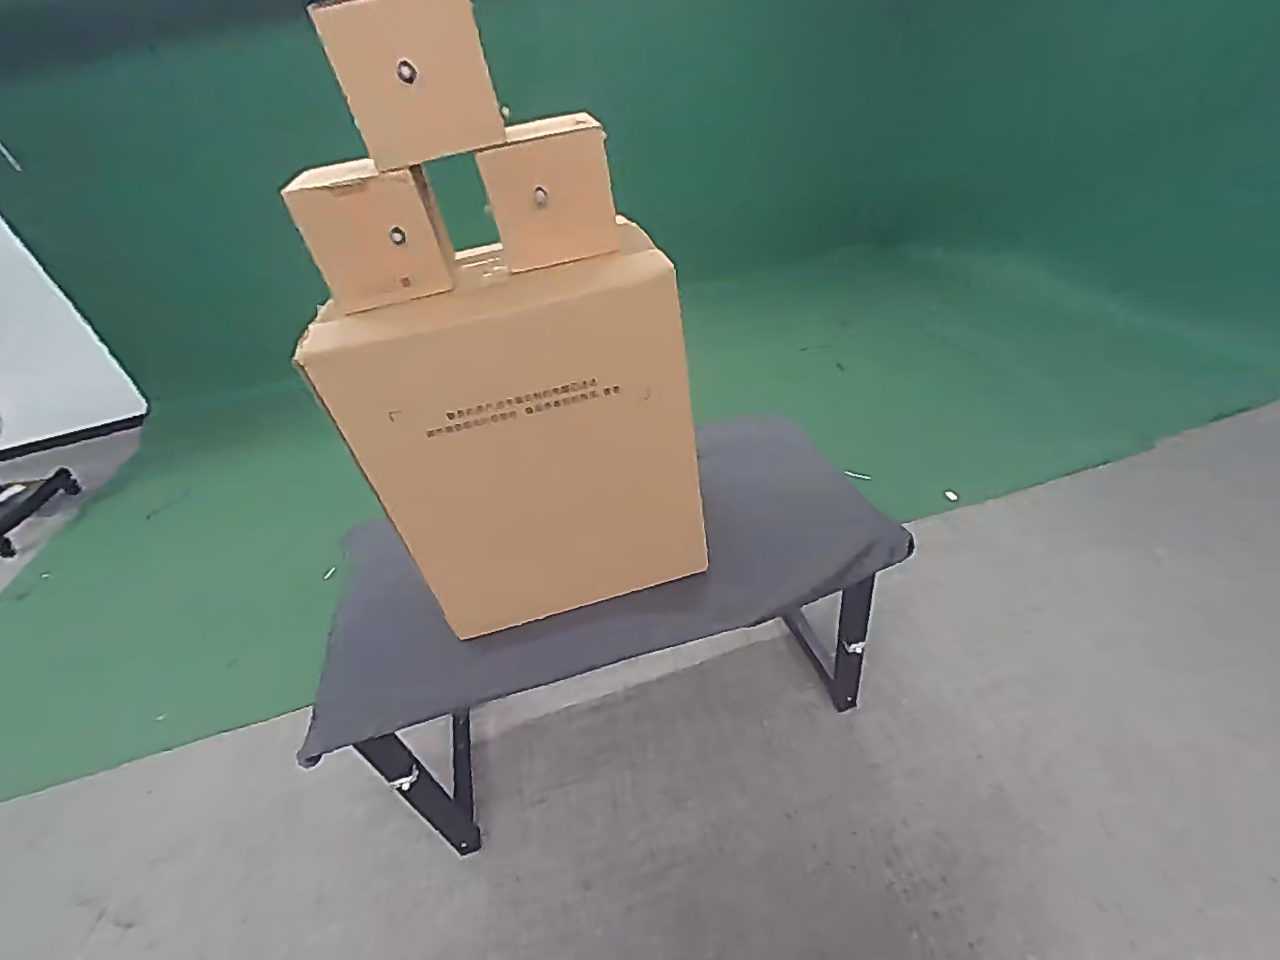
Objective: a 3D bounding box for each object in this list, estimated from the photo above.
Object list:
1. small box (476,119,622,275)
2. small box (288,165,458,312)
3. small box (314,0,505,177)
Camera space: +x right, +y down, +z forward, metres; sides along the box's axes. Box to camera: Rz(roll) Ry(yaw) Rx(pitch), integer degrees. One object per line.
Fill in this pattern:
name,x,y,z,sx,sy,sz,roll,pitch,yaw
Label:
small box,-0.138,-0.436,0.838,0.179,0.176,0.168,-15,41,-3
small box,-0.384,-0.368,0.816,0.168,0.176,0.179,-14,39,-6
small box,-0.288,-0.526,0.722,0.179,0.176,0.168,-17,40,-4
